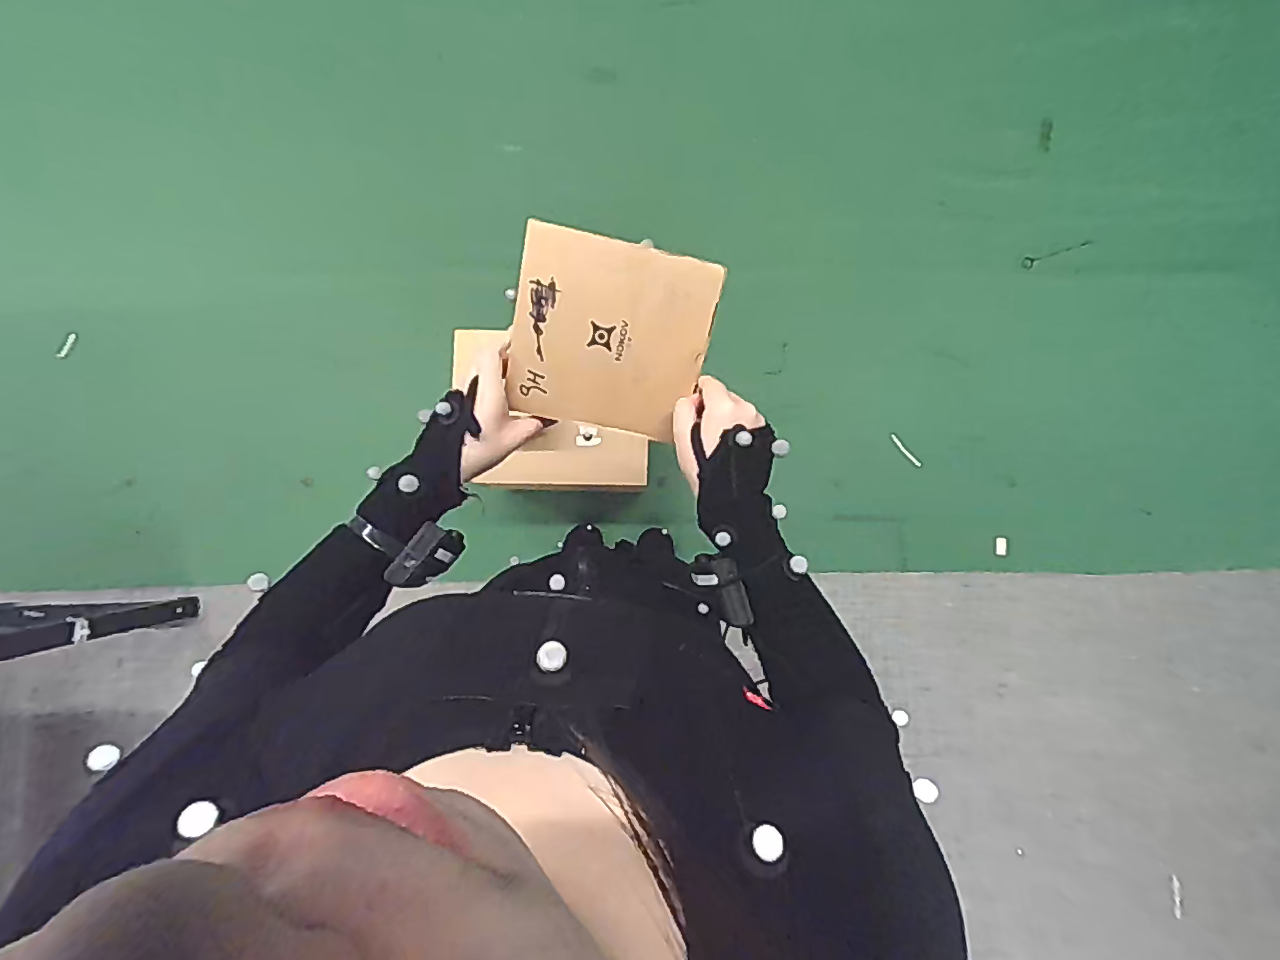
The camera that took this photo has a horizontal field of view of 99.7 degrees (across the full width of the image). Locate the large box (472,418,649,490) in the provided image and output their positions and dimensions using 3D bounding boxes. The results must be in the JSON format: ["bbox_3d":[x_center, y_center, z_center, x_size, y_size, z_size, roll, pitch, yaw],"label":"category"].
[{"bbox_3d":[-0.183,-0.138,1.369,0.408,0.320,0.320,1,87,-1],"label":"large box"}]

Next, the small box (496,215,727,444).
[{"bbox_3d":[-0.031,-0.149,0.545,0.179,0.176,0.168,11,107,-6],"label":"small box"}]

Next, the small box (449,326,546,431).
[{"bbox_3d":[-0.287,-0.205,1.129,0.168,0.176,0.179,1,86,-1],"label":"small box"}]
